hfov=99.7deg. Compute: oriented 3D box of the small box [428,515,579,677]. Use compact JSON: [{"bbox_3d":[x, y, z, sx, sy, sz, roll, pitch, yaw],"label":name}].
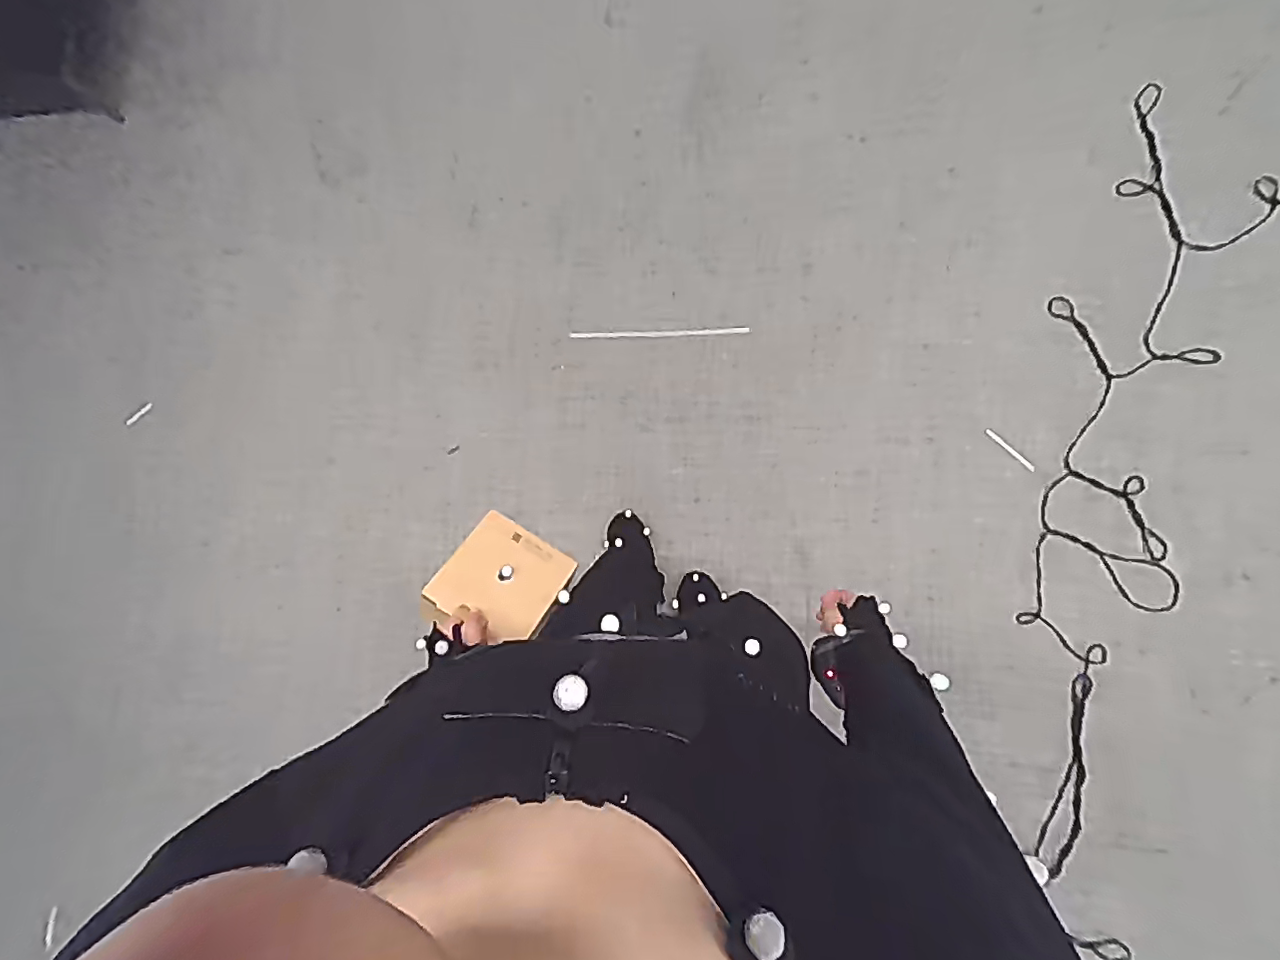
[{"bbox_3d":[-0.216,0.187,0.875,0.168,0.179,0.176,32,56,4],"label":"small box"}]
